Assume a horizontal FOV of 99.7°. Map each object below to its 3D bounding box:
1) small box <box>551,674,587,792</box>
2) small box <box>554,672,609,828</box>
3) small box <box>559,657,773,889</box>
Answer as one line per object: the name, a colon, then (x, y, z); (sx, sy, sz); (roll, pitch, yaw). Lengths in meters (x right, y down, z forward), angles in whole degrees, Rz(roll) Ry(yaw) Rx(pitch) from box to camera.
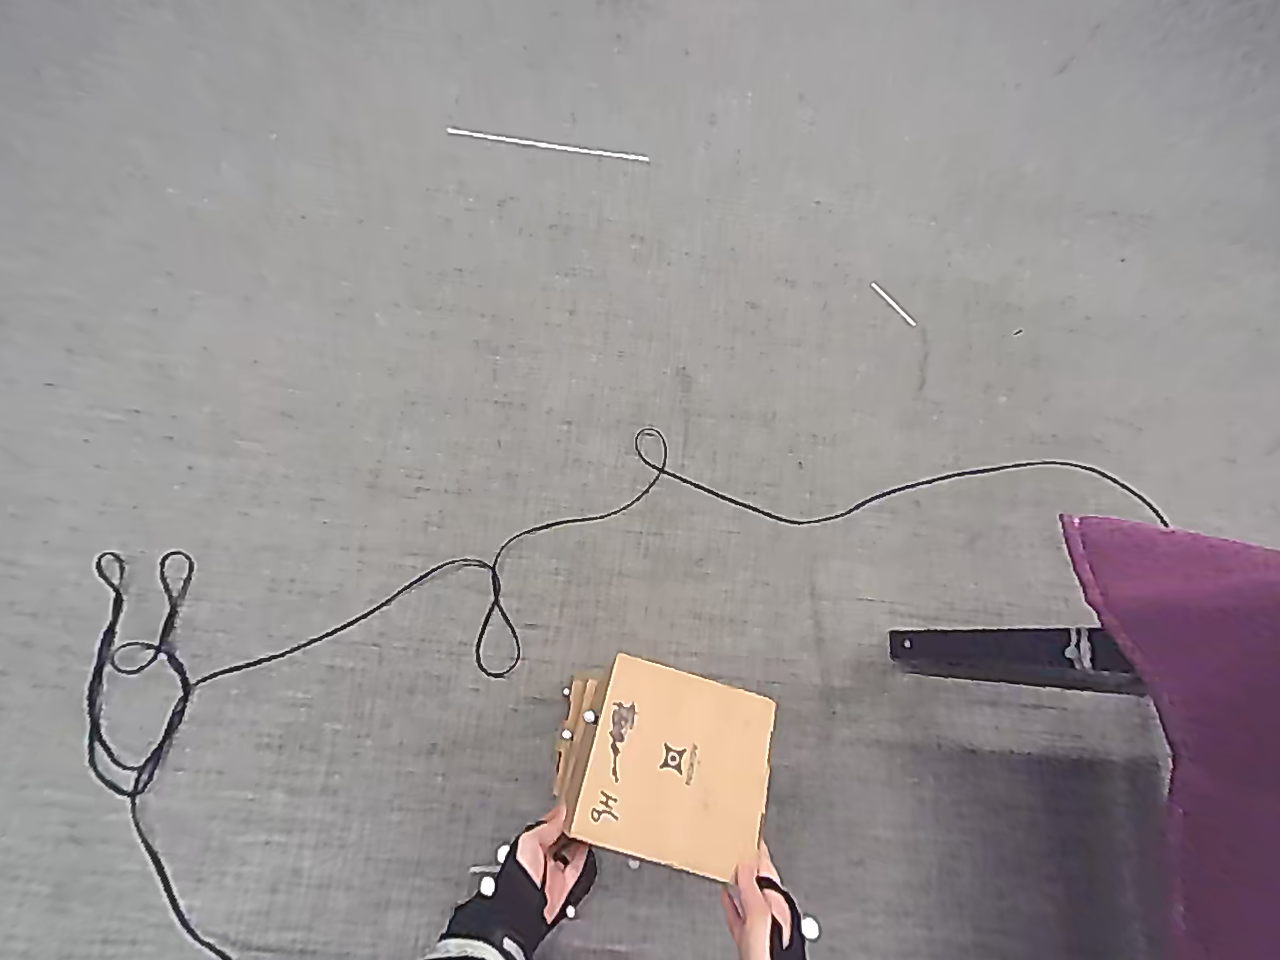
small box: (-0.044, 0.427, 0.909); (0.179, 0.176, 0.168); (11, 74, -4)
small box: (-0.017, 0.376, 0.754); (0.168, 0.176, 0.179); (14, 74, -2)
small box: (0.022, 0.311, 0.588); (0.179, 0.176, 0.168); (18, 59, -3)
